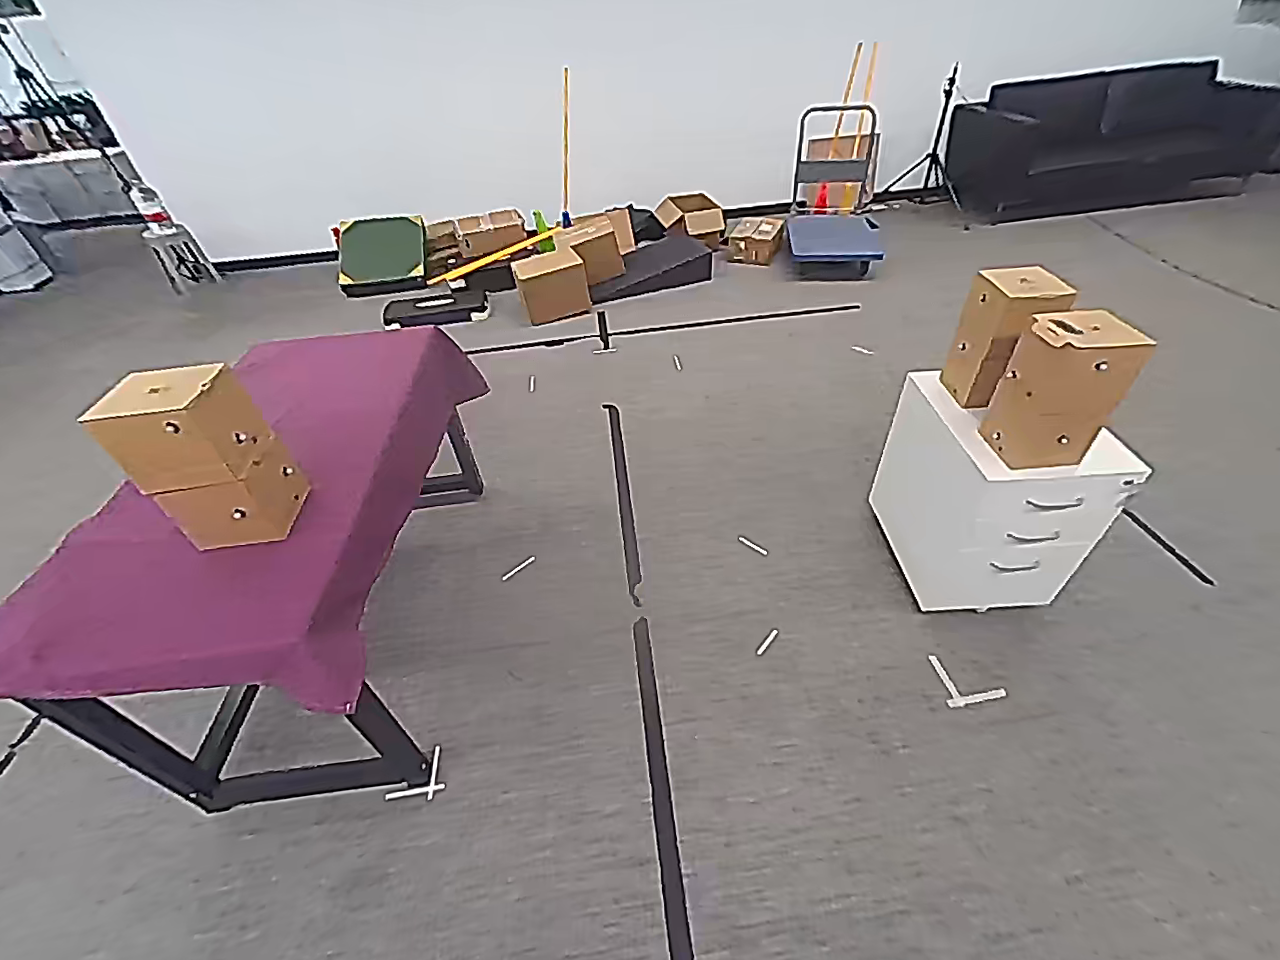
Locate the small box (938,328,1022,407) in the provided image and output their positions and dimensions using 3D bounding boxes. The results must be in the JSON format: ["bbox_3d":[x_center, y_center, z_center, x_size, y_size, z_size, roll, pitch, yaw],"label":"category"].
[{"bbox_3d":[0.989,-0.322,1.538,0.179,0.176,0.168,-2,42,1],"label":"small box"}]

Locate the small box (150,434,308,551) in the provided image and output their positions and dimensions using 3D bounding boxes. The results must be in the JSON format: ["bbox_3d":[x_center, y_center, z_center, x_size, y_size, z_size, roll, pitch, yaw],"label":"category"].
[{"bbox_3d":[-0.832,0.027,1.121,0.179,0.176,0.168,-8,41,-2],"label":"small box"}]

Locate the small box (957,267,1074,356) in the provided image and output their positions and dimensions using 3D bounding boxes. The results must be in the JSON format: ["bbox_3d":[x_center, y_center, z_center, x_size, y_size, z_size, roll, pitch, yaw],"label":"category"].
[{"bbox_3d":[0.975,-0.445,1.427,0.168,0.176,0.179,-4,42,2],"label":"small box"}]

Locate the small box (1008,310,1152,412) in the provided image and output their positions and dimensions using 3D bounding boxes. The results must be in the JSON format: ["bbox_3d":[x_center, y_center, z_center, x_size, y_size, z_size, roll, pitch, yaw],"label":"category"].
[{"bbox_3d":[0.982,-0.269,1.234,0.179,0.176,0.168,-4,42,0],"label":"small box"}]

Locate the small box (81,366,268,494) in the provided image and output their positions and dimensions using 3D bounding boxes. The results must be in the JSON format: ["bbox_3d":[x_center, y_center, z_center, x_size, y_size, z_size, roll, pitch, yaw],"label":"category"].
[{"bbox_3d":[-0.848,-0.091,1.011,0.179,0.176,0.168,-8,41,-5],"label":"small box"}]
